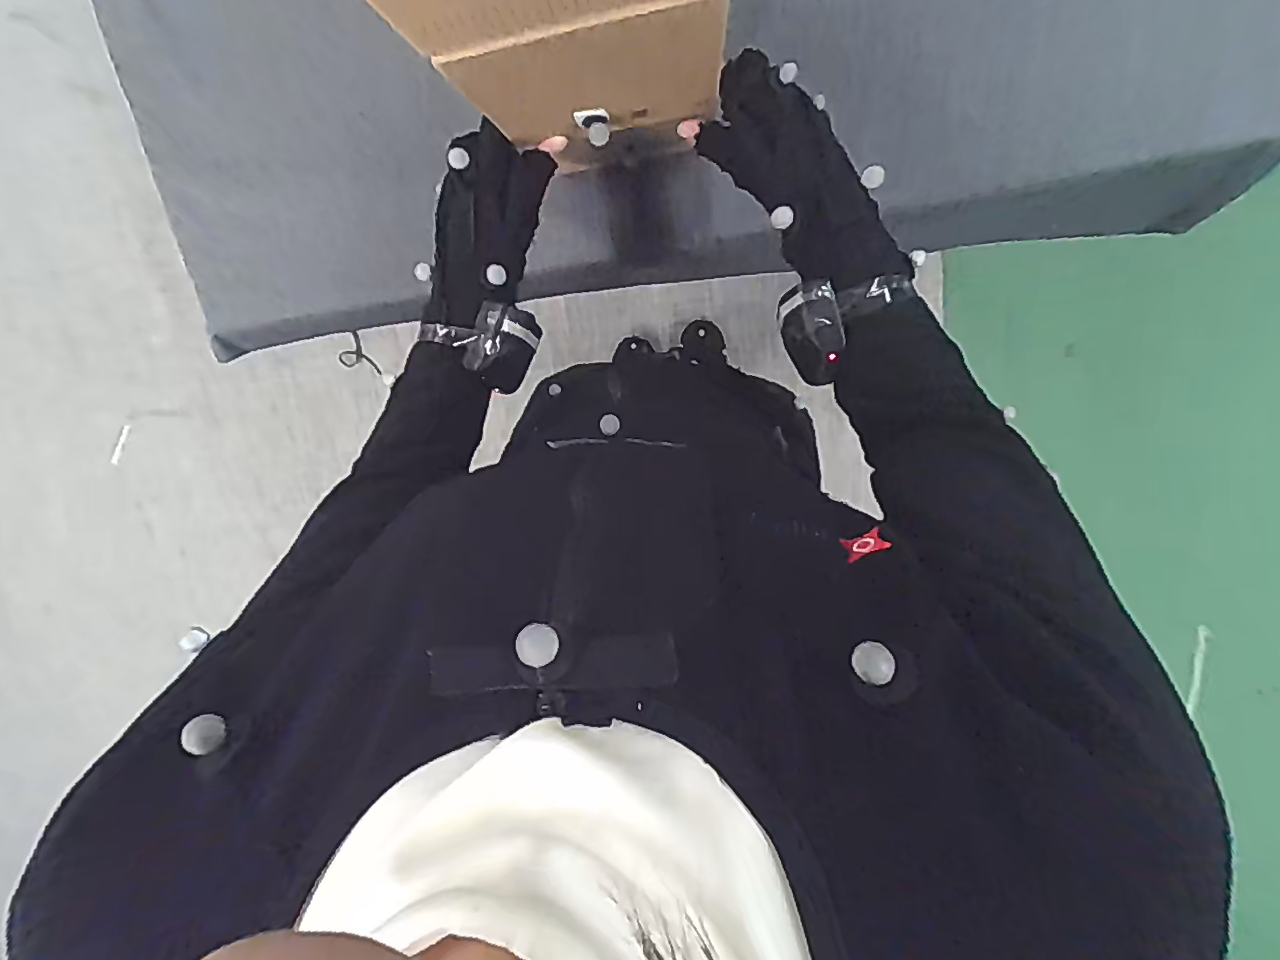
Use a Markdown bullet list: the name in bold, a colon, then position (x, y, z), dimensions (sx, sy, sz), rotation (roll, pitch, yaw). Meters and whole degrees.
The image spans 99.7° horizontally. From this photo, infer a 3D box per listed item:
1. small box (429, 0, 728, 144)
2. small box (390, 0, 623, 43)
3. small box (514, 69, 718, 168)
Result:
- **small box**: position (-0.041, -0.347, 0.342), dimensions (0.168, 0.176, 0.179), rotation (-8, 106, 8)
- **small box**: position (-0.055, -0.305, 0.201), dimensions (0.179, 0.176, 0.168), rotation (-7, 106, 7)
- **small box**: position (-0.031, -0.409, 0.493), dimensions (0.179, 0.176, 0.168), rotation (-8, 105, 6)
